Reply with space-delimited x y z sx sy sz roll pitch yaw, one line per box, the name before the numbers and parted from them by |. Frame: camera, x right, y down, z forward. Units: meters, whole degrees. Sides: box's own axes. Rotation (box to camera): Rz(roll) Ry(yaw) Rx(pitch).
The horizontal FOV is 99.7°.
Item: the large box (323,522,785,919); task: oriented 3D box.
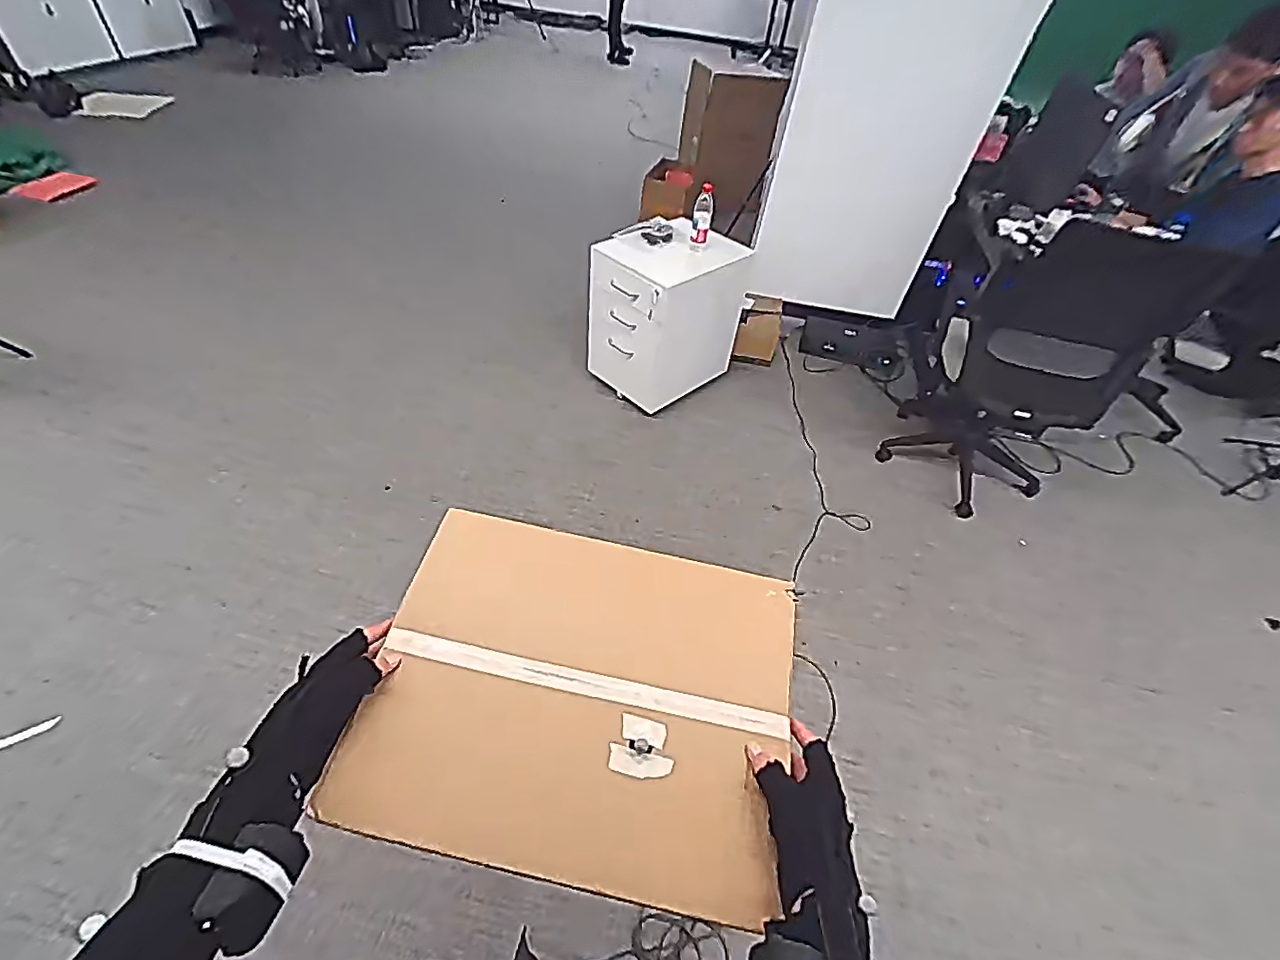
large box | -0.069 0.292 0.664 0.408 0.320 0.320 12 56 3
